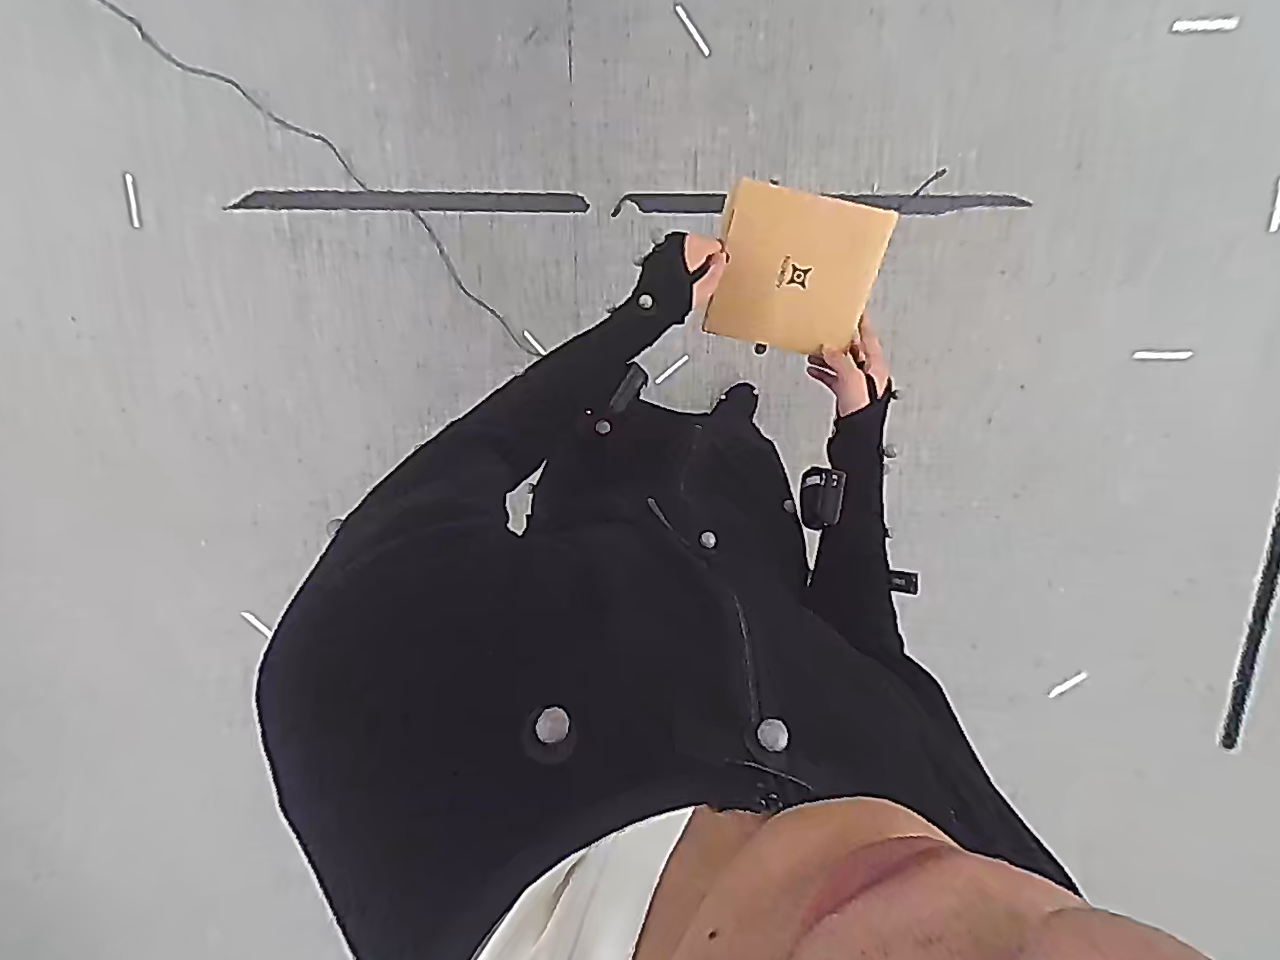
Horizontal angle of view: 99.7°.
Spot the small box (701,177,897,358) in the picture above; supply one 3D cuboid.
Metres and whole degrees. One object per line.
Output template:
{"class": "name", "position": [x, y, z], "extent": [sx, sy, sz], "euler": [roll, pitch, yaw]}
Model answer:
{"class": "small box", "position": [0.180, -0.265, 0.675], "extent": [0.179, 0.176, 0.168], "euler": [12, 115, 1]}

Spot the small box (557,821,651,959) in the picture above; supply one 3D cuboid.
{"class": "small box", "position": [-0.069, 0.865, 1.135], "extent": [0.168, 0.176, 0.179], "euler": [7, 103, 3]}
